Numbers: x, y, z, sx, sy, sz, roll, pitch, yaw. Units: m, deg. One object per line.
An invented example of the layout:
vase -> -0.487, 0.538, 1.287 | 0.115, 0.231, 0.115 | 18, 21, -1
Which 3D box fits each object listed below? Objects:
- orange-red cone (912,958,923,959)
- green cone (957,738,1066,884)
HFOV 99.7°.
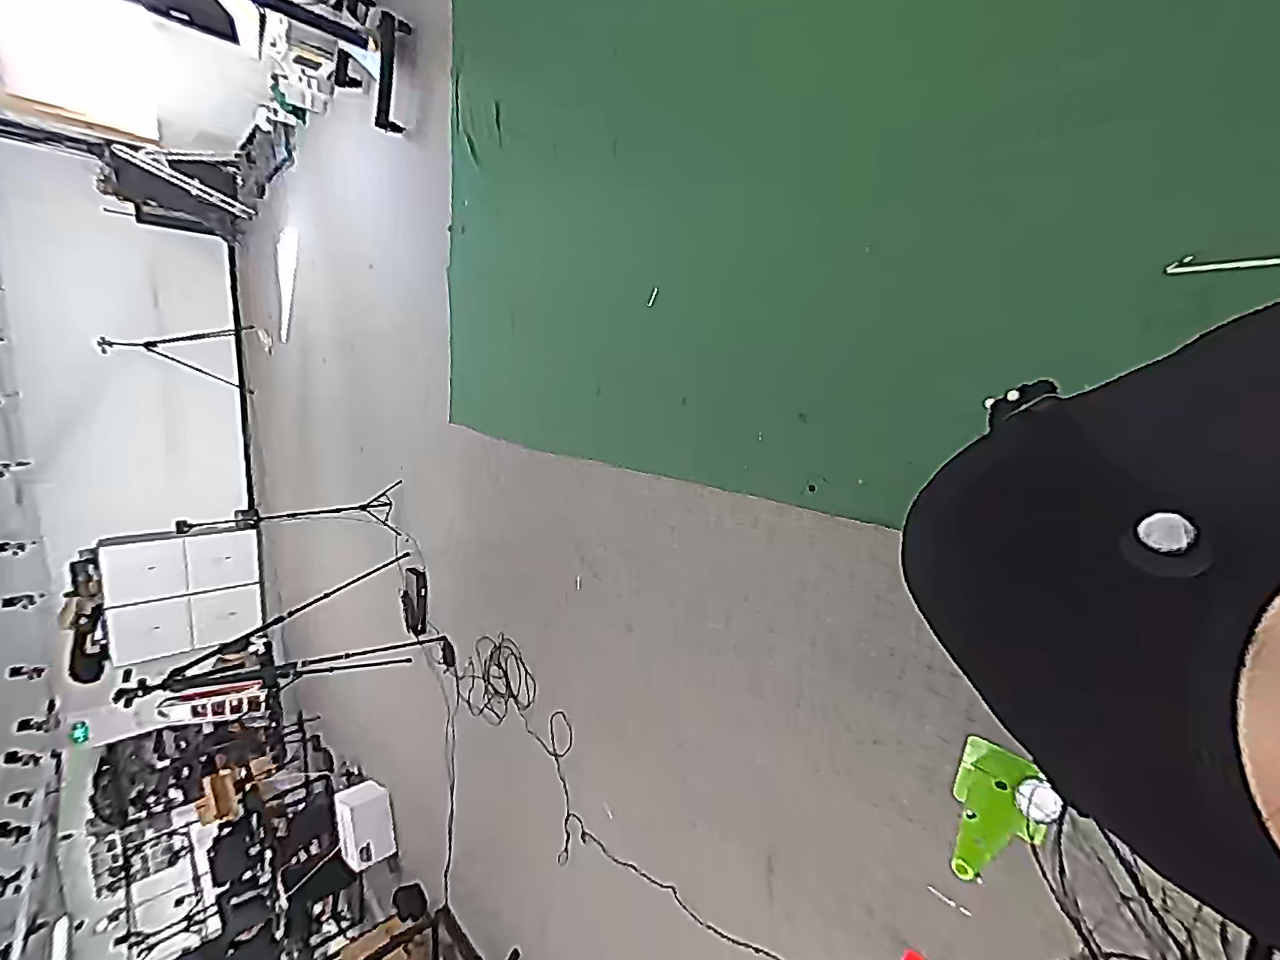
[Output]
orange-red cone -> 0.732, 1.500, 1.406 | 0.198, 0.360, 0.199 | 20, 107, 42
green cone -> 0.802, 0.791, 1.239 | 0.200, 0.368, 0.202 | 17, 108, 44
